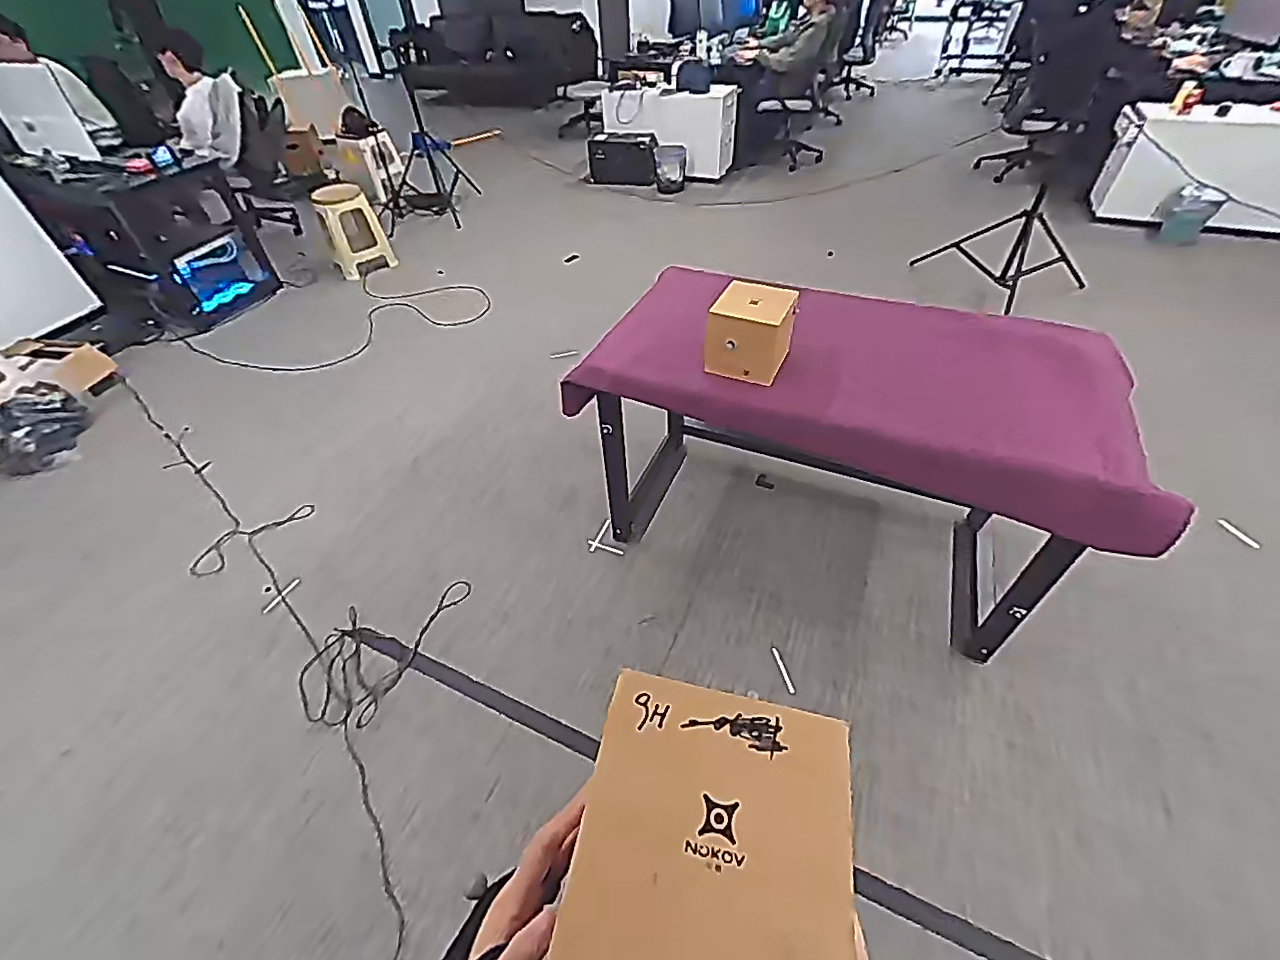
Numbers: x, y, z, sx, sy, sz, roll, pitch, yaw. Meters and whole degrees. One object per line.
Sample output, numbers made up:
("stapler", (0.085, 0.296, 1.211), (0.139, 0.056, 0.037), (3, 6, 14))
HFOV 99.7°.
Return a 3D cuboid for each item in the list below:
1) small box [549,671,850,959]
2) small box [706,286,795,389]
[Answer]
("small box", (0.046, 0.272, 0.399), (0.168, 0.176, 0.179), (11, 51, 7))
("small box", (0.265, -0.345, 1.317), (0.168, 0.176, 0.179), (17, 48, 19))
